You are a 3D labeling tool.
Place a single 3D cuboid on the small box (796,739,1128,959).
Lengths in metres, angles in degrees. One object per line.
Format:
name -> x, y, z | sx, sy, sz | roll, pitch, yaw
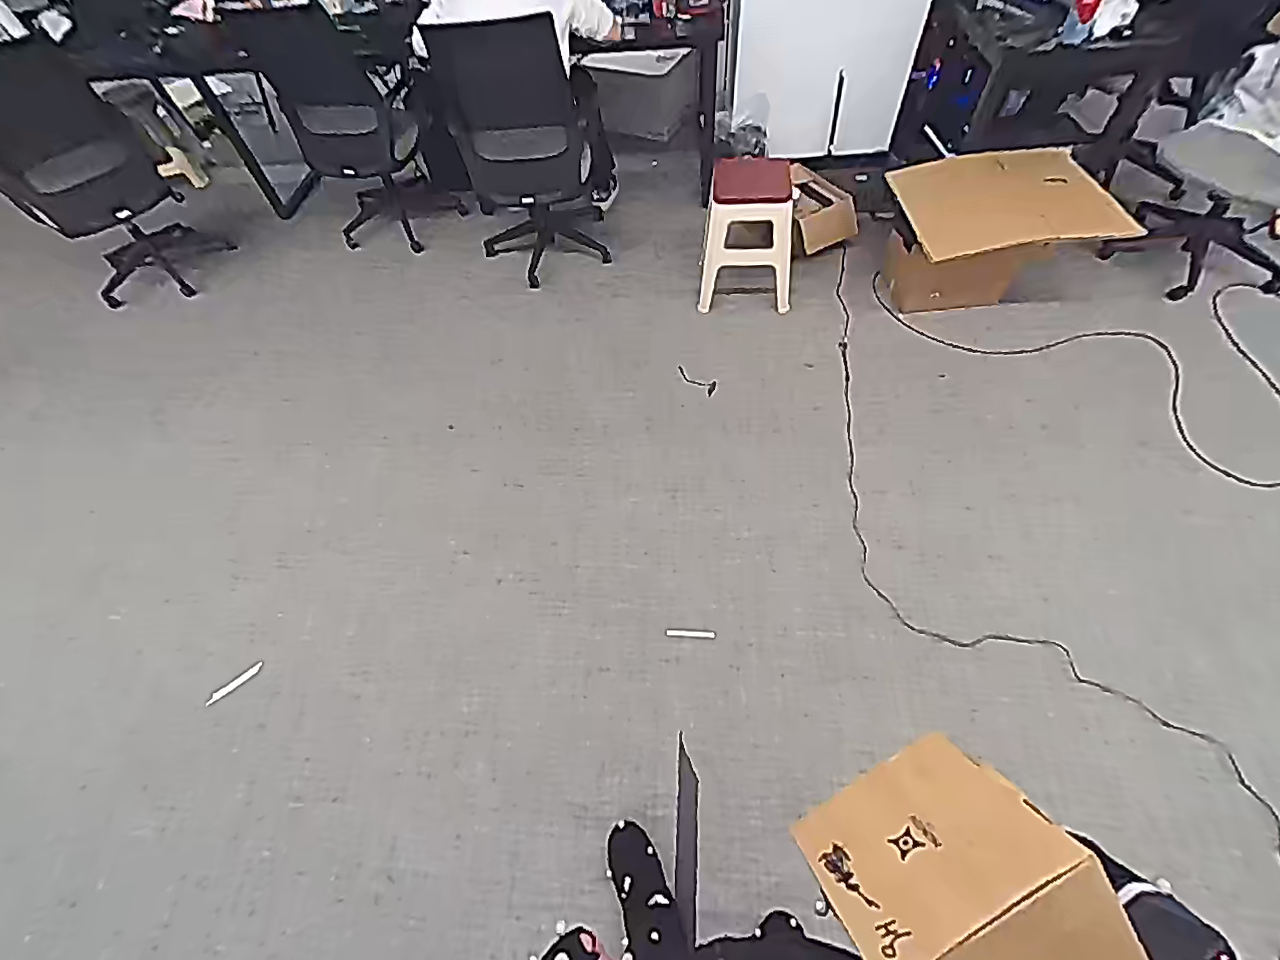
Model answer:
small box -> 0.273, 0.375, 0.466 | 0.179, 0.168, 0.176 | -29, 95, -5
